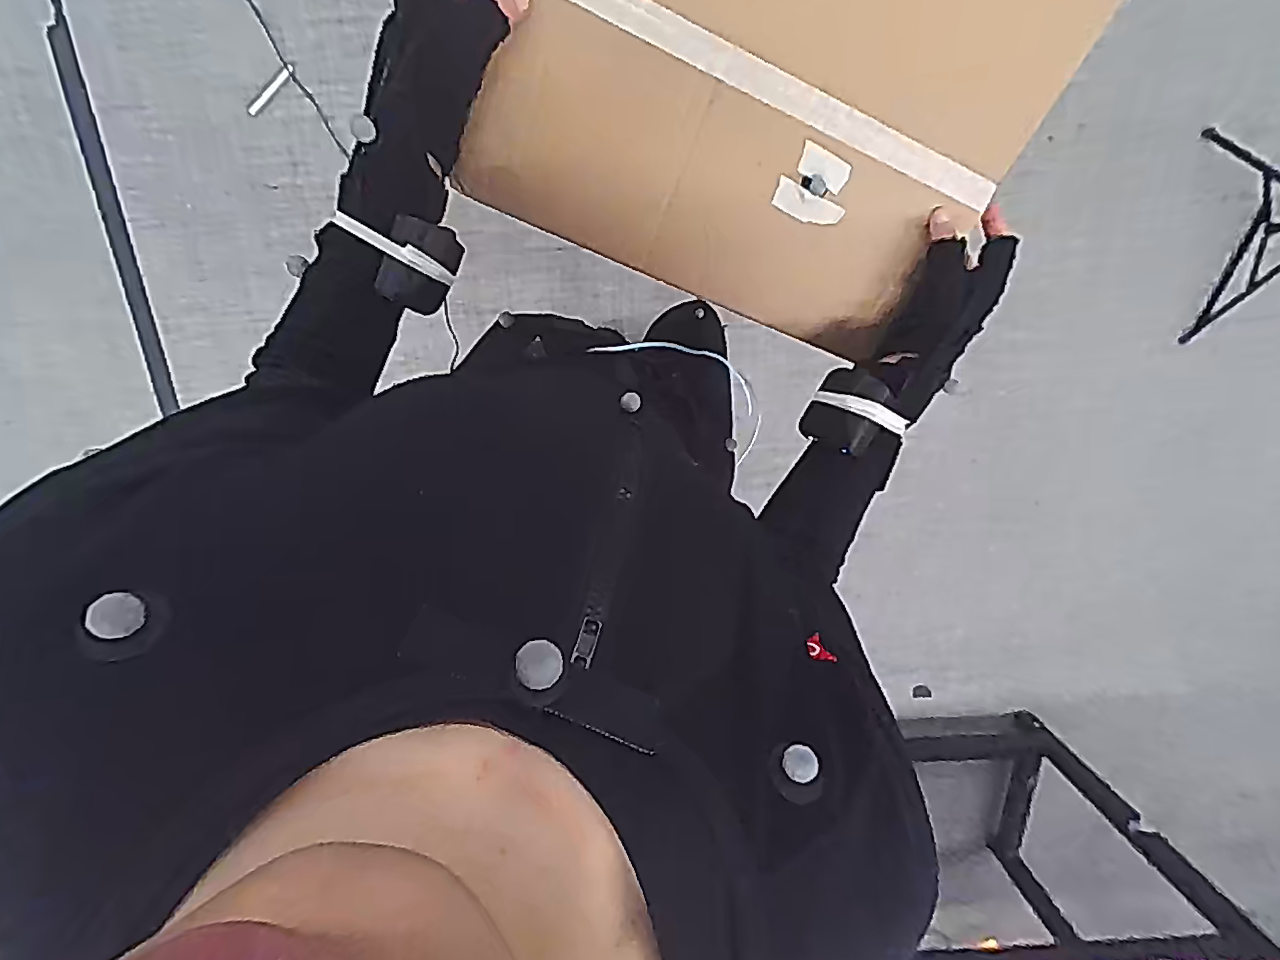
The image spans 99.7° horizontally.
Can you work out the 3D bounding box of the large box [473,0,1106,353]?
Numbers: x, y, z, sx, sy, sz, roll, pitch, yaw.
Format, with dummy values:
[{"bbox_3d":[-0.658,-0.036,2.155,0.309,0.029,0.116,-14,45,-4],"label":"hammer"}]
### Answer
[{"bbox_3d":[0.096,-0.381,0.536,0.408,0.320,0.320,19,122,-13],"label":"large box"}]
